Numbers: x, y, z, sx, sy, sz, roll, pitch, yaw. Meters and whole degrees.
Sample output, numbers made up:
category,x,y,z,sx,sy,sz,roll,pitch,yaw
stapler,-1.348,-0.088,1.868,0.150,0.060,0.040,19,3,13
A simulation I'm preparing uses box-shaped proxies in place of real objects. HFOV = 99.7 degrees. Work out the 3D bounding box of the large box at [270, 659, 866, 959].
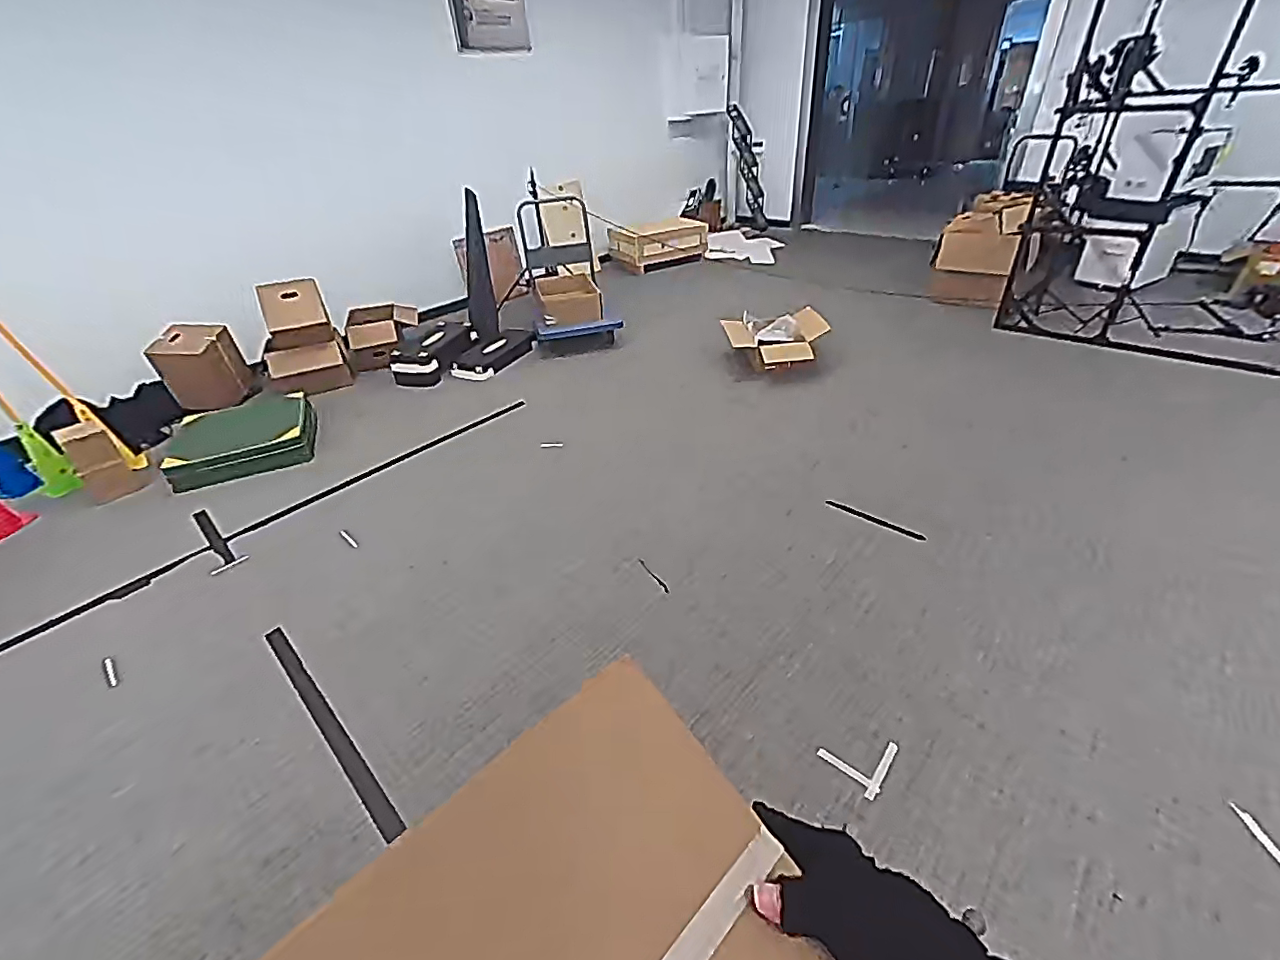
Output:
category,x,y,z,sx,sy,sz,roll,pitch,yaw
large box,-0.098,0.410,0.386,0.408,0.320,0.320,-33,76,-33
